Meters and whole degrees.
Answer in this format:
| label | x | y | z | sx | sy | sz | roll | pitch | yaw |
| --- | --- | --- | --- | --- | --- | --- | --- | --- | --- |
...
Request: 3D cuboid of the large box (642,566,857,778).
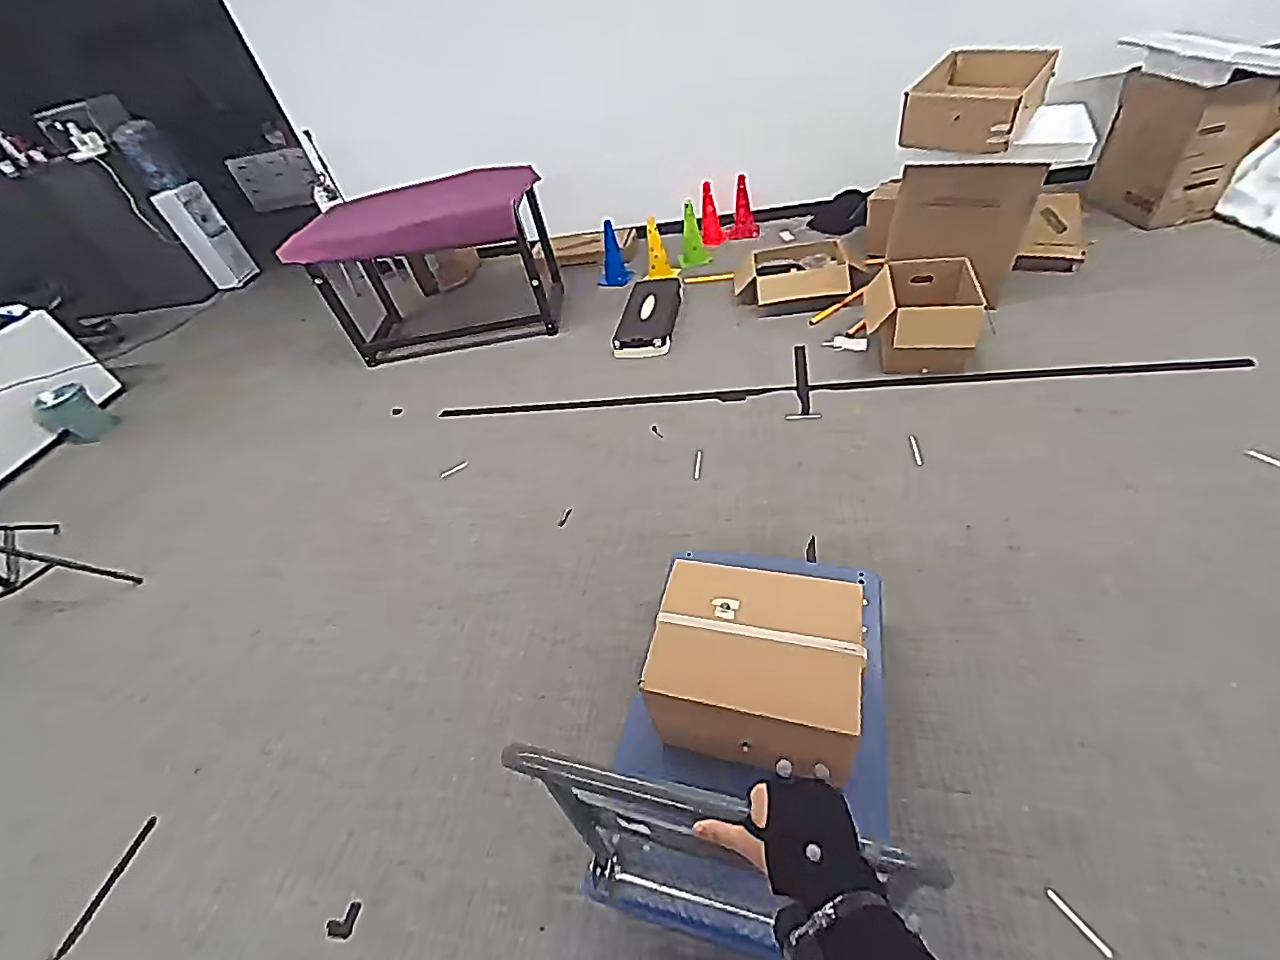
| label | x | y | z | sx | sy | sz | roll | pitch | yaw |
| --- | --- | --- | --- | --- | --- | --- | --- | --- | --- |
| large box | 0.258 | 0.421 | 1.204 | 0.408 | 0.320 | 0.320 | 3 | 46 | 19 |
